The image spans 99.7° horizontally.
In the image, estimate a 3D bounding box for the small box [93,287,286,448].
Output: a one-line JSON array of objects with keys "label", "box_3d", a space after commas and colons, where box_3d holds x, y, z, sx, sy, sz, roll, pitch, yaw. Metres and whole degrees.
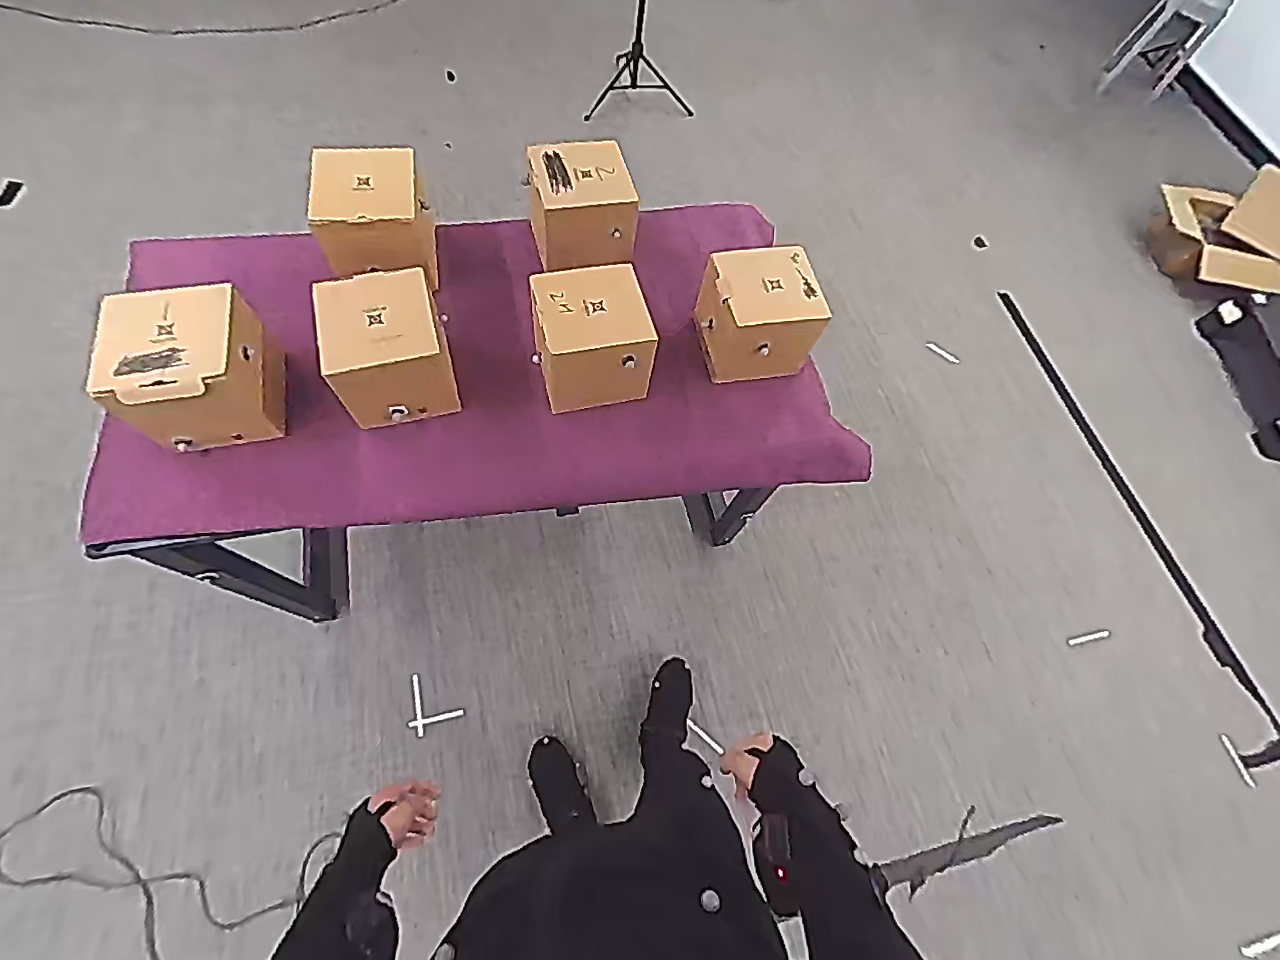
[{"label": "small box", "box_3d": [-0.669, -0.163, 0.829, 0.168, 0.176, 0.179, -11, 66, -12]}]

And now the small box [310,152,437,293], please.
[{"label": "small box", "box_3d": [-0.473, -0.460, 0.984, 0.168, 0.176, 0.179, -7, 68, -10]}]

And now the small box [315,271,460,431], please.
[{"label": "small box", "box_3d": [-0.404, -0.205, 0.882, 0.168, 0.176, 0.179, -14, 68, -12]}]

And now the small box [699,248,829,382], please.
[{"label": "small box", "box_3d": [0.213, -0.295, 0.995, 0.179, 0.176, 0.168, -8, 68, -9]}]

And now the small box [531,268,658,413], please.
[{"label": "small box", "box_3d": [-0.083, -0.235, 0.932, 0.179, 0.176, 0.168, -12, 67, -11]}]
